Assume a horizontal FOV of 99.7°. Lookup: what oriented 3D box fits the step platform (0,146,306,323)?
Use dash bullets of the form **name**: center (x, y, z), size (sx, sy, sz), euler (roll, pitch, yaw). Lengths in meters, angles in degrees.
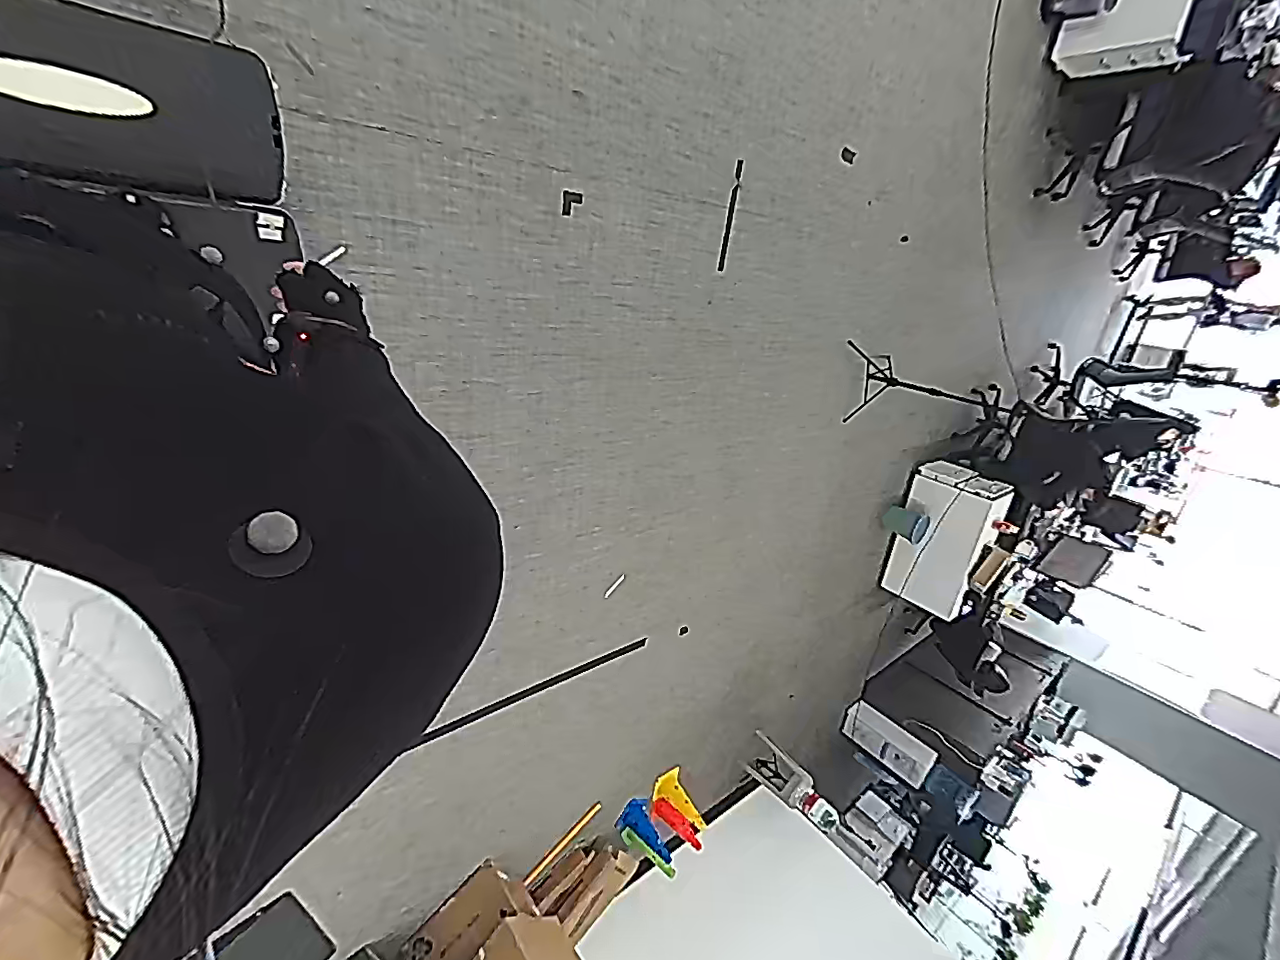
- **step platform**: center (-1.045, -0.458, 1.042), size (0.684, 0.204, 0.286), euler (-11, 118, -37)
